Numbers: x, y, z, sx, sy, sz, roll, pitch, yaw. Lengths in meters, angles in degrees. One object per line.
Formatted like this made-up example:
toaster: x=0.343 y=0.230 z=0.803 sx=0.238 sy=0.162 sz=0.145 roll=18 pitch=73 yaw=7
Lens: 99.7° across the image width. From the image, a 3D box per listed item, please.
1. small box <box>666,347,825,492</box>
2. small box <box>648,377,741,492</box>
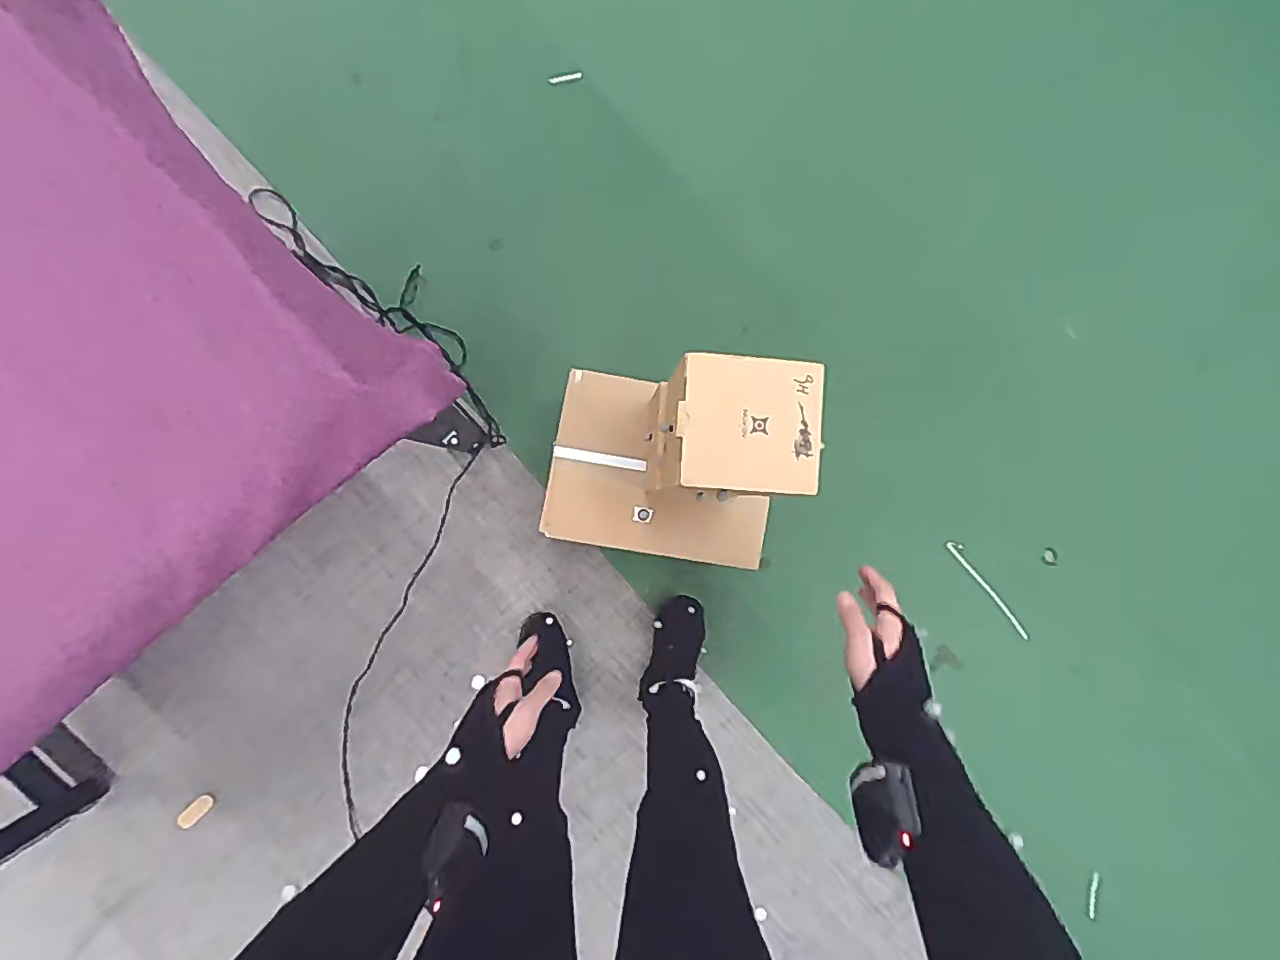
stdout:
small box: x=0.132 y=-0.072 z=0.738 sx=0.179 sy=0.176 sz=0.168 roll=4 pitch=88 yaw=-4
small box: x=0.108 y=-0.067 z=0.900 sx=0.179 sy=0.176 sz=0.168 roll=3 pitch=88 yaw=-5
